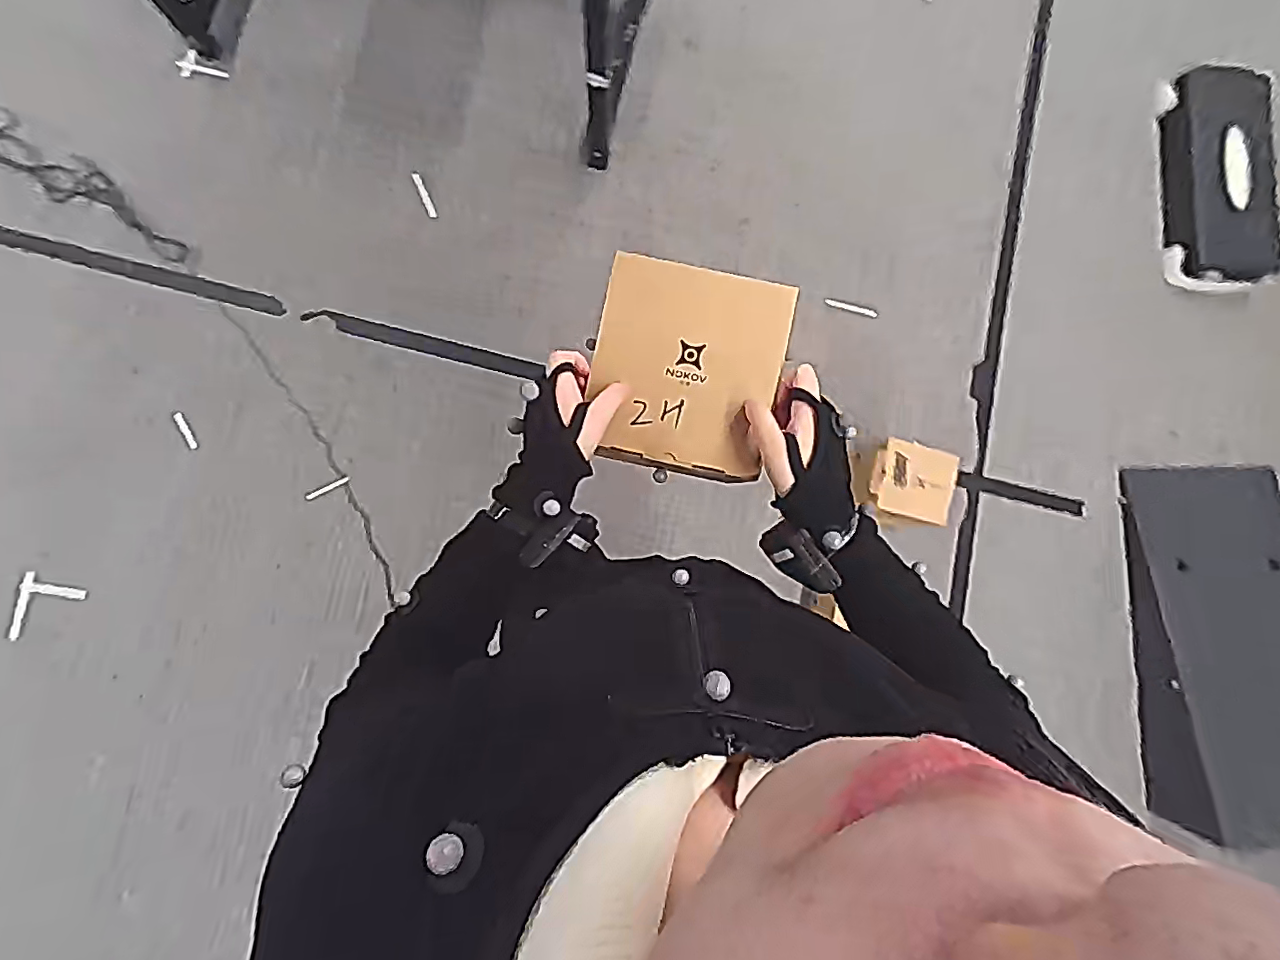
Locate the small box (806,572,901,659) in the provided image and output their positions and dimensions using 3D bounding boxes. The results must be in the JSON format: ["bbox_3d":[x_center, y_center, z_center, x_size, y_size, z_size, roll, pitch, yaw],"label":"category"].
[{"bbox_3d":[0.557,0.351,1.432,0.168,0.176,0.179,13,86,-3],"label":"small box"}]

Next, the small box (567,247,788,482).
[{"bbox_3d":[0.033,-0.100,0.544,0.168,0.176,0.179,11,89,1],"label":"small box"}]

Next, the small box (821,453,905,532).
[{"bbox_3d":[0.608,0.037,1.459,0.168,0.176,0.179,12,85,-3],"label":"small box"}]

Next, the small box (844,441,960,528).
[{"bbox_3d":[0.619,0.016,1.297,0.179,0.176,0.168,15,86,-4],"label":"small box"}]
